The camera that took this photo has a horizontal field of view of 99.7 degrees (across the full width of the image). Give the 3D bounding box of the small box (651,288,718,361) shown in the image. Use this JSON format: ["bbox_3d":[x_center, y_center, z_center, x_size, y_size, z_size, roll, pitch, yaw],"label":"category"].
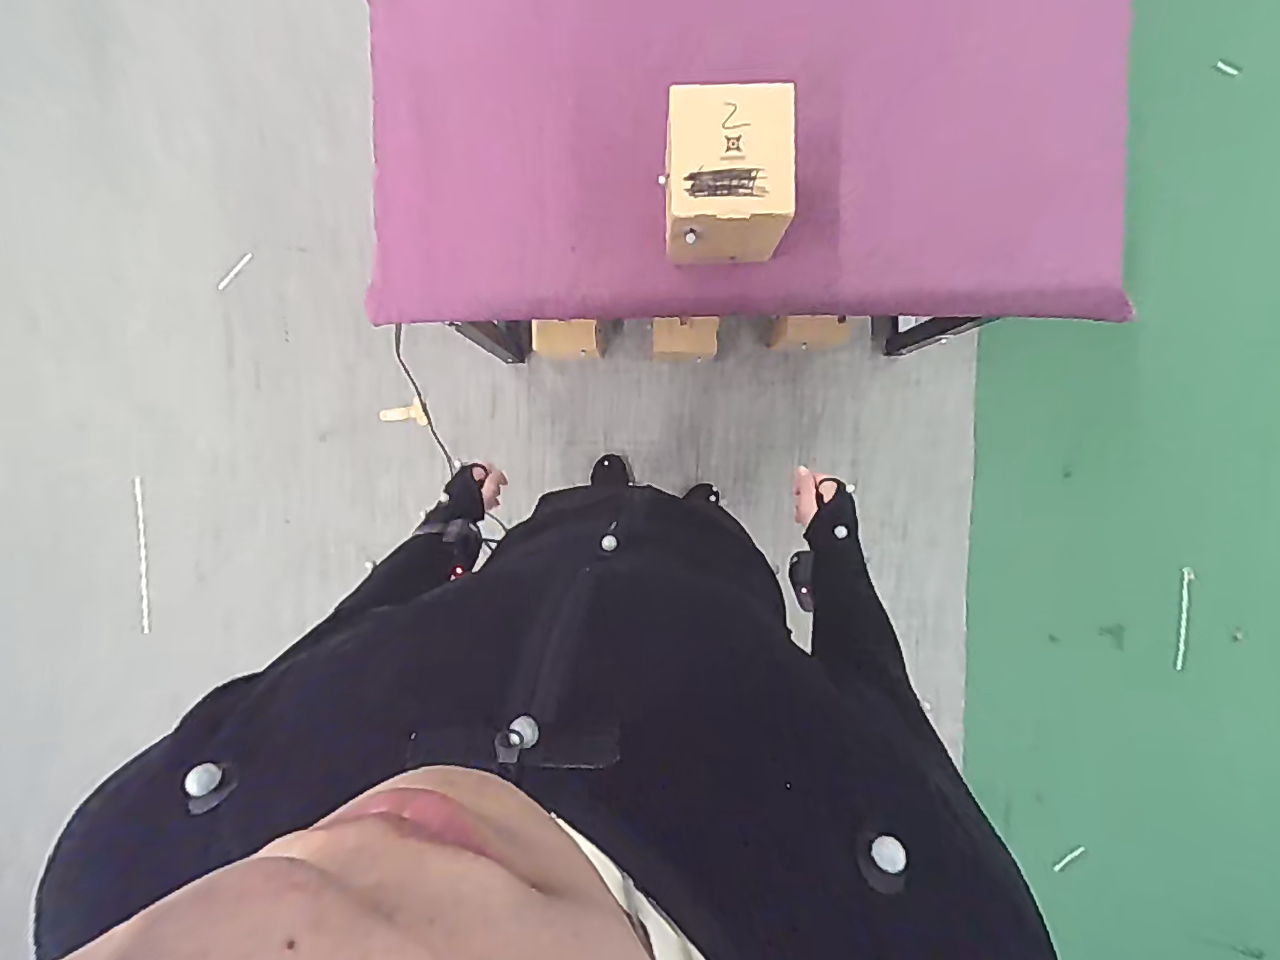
[{"bbox_3d":[0.120,-0.432,1.515,0.179,0.176,0.168,0,92,2],"label":"small box"}]

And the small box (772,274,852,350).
[{"bbox_3d":[0.472,-0.462,1.508,0.179,0.176,0.168,3,93,1],"label":"small box"}]

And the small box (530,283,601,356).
[{"bbox_3d":[-0.205,-0.444,1.520,0.179,0.176,0.168,-1,93,1],"label":"small box"}]
